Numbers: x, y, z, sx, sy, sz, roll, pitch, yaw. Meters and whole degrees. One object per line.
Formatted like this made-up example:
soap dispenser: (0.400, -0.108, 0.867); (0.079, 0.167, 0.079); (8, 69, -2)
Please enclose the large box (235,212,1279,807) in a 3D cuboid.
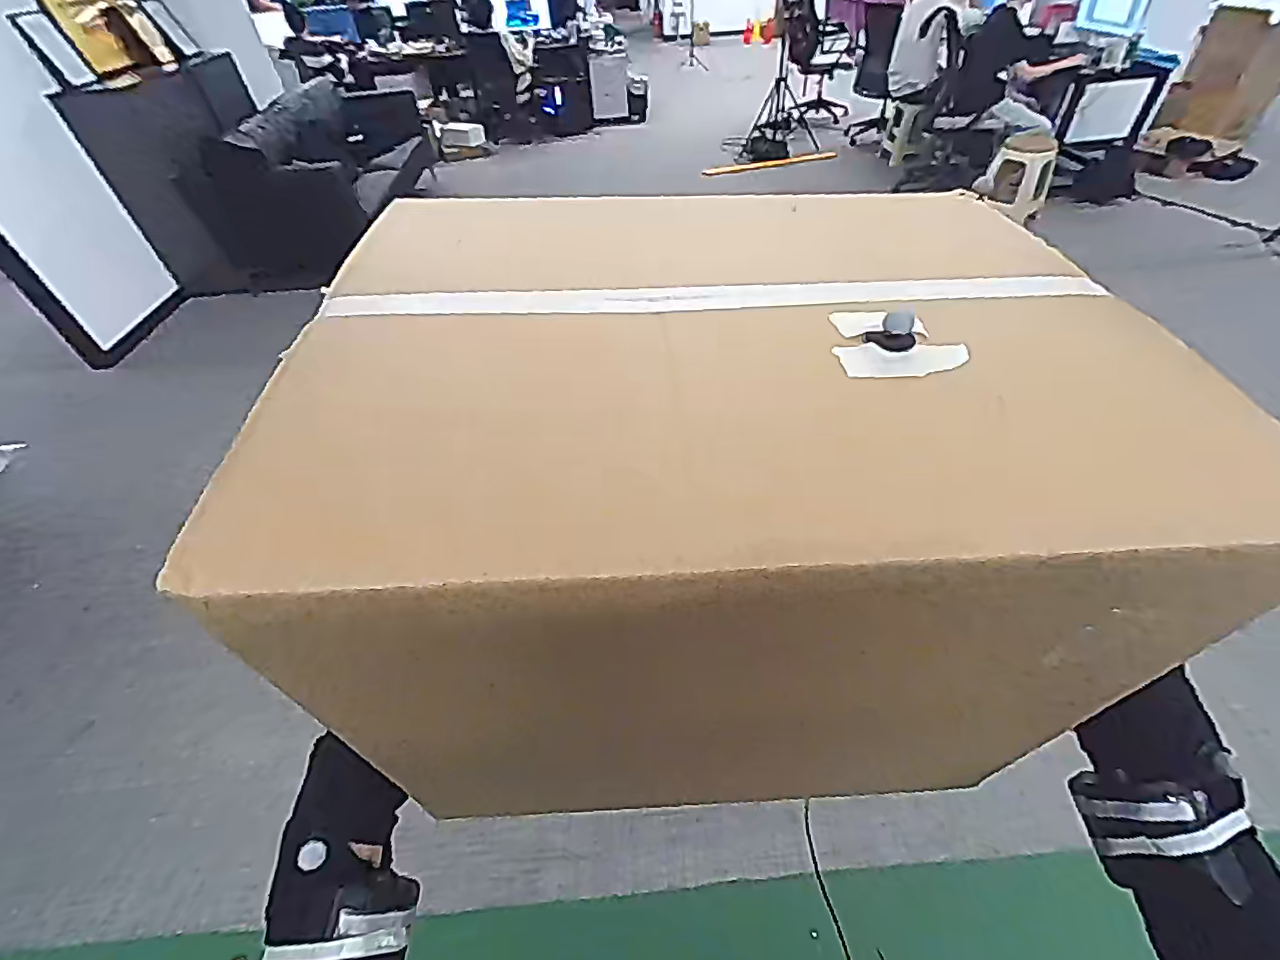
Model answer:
large box: (0.048, 0.019, 0.399); (0.408, 0.320, 0.320); (-1, 47, -3)
